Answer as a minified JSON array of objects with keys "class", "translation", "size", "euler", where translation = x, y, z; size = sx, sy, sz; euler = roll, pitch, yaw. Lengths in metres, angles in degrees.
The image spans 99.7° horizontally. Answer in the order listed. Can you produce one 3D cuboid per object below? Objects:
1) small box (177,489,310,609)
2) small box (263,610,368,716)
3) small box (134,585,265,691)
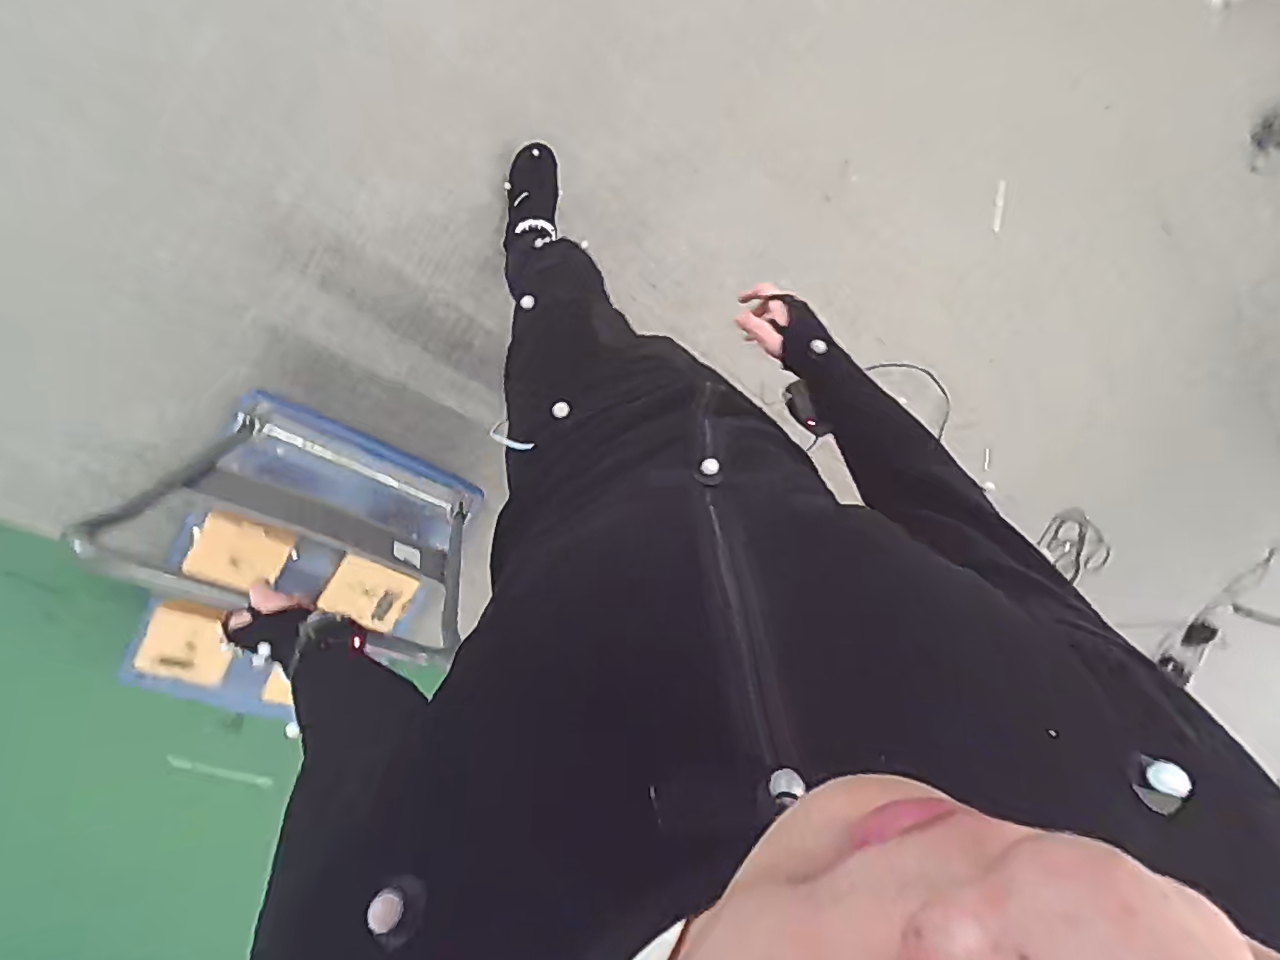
[{"class":"small box","translation":[-0.882,0.152,1.222],"size":[0.168,0.176,0.179],"euler":[30,101,-25]},{"class":"small box","translation":[-0.814,0.459,1.374],"size":[0.168,0.176,0.179],"euler":[24,104,-23]},{"class":"small box","translation":[-1.020,0.353,1.268],"size":[0.168,0.176,0.179],"euler":[26,103,-25]}]
